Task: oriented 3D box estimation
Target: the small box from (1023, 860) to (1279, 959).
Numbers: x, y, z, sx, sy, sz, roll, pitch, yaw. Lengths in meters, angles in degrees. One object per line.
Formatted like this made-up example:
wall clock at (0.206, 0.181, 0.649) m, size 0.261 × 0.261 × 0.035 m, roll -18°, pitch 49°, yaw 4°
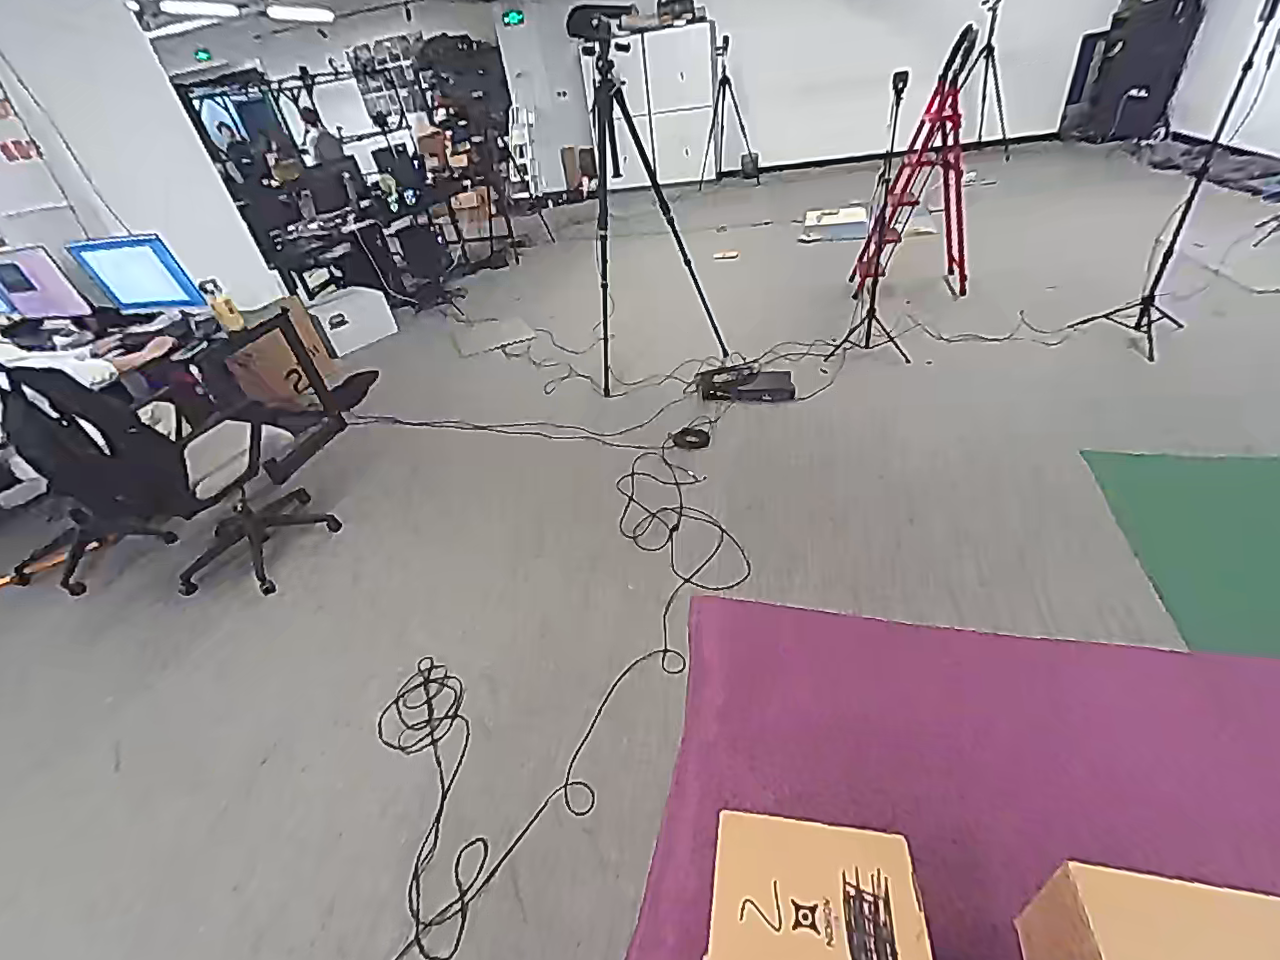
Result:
small box at (0.443, 0.452, 0.434) m, size 0.168 × 0.176 × 0.179 m, roll 1°, pitch 36°, yaw 15°
